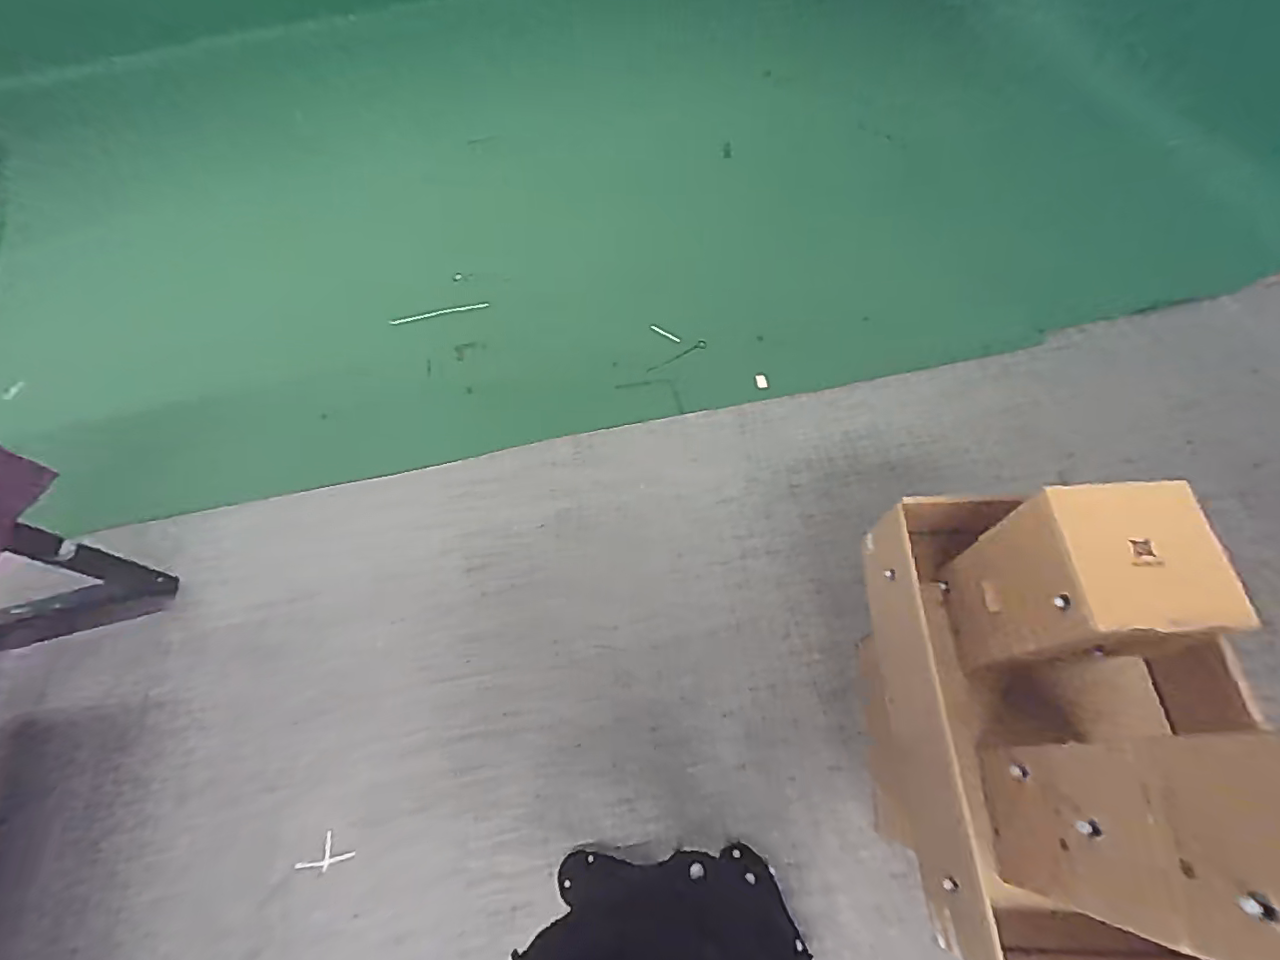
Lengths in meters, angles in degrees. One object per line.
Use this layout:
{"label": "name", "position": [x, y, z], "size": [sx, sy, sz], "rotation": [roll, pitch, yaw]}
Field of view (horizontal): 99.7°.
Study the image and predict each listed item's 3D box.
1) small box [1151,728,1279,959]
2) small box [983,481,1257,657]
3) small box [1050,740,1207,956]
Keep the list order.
{"label": "small box", "position": [0.539, 0.291, 0.402], "size": [0.179, 0.176, 0.168], "rotation": [5, 64, 8]}
{"label": "small box", "position": [0.569, 0.117, 0.678], "size": [0.168, 0.176, 0.179], "rotation": [-3, 63, 5]}
{"label": "small box", "position": [0.555, 0.367, 0.546], "size": [0.179, 0.176, 0.168], "rotation": [3, 63, 9]}
